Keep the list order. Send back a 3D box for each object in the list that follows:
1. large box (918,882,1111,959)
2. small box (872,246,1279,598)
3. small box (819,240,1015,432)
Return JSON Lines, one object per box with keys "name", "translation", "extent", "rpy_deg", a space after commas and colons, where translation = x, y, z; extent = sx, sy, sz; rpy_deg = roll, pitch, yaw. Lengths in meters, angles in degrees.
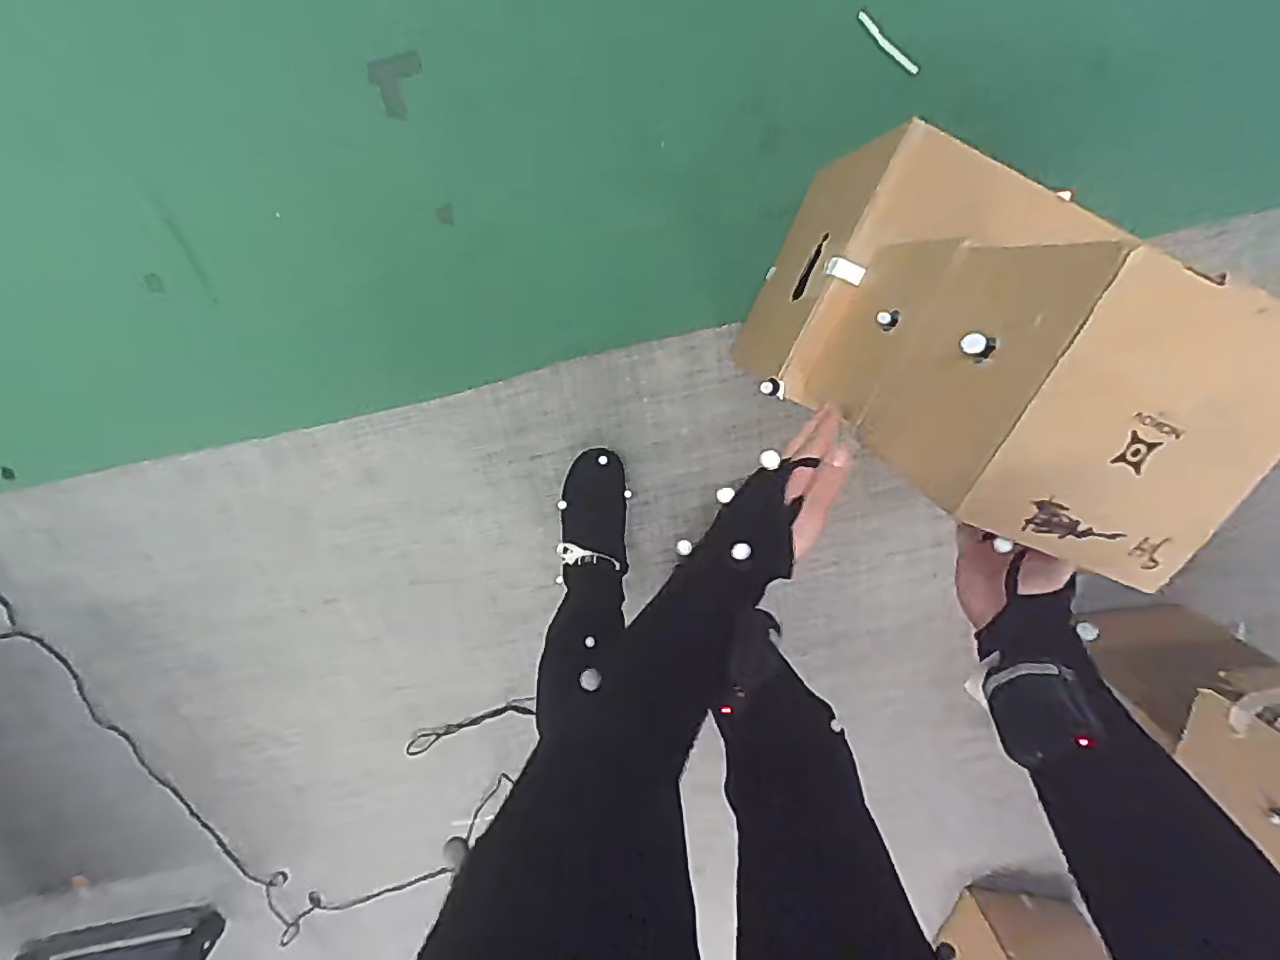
{"name": "large box", "translation": [0.959, 1.317, 1.358], "extent": [0.320, 0.320, 0.408], "rpy_deg": [10, 109, -5]}
{"name": "small box", "translation": [0.307, -0.051, 0.398], "extent": [0.168, 0.176, 0.179], "rpy_deg": [21, 110, -9]}
{"name": "small box", "translation": [0.308, -0.121, 0.547], "extent": [0.168, 0.176, 0.179], "rpy_deg": [21, 111, -9]}
